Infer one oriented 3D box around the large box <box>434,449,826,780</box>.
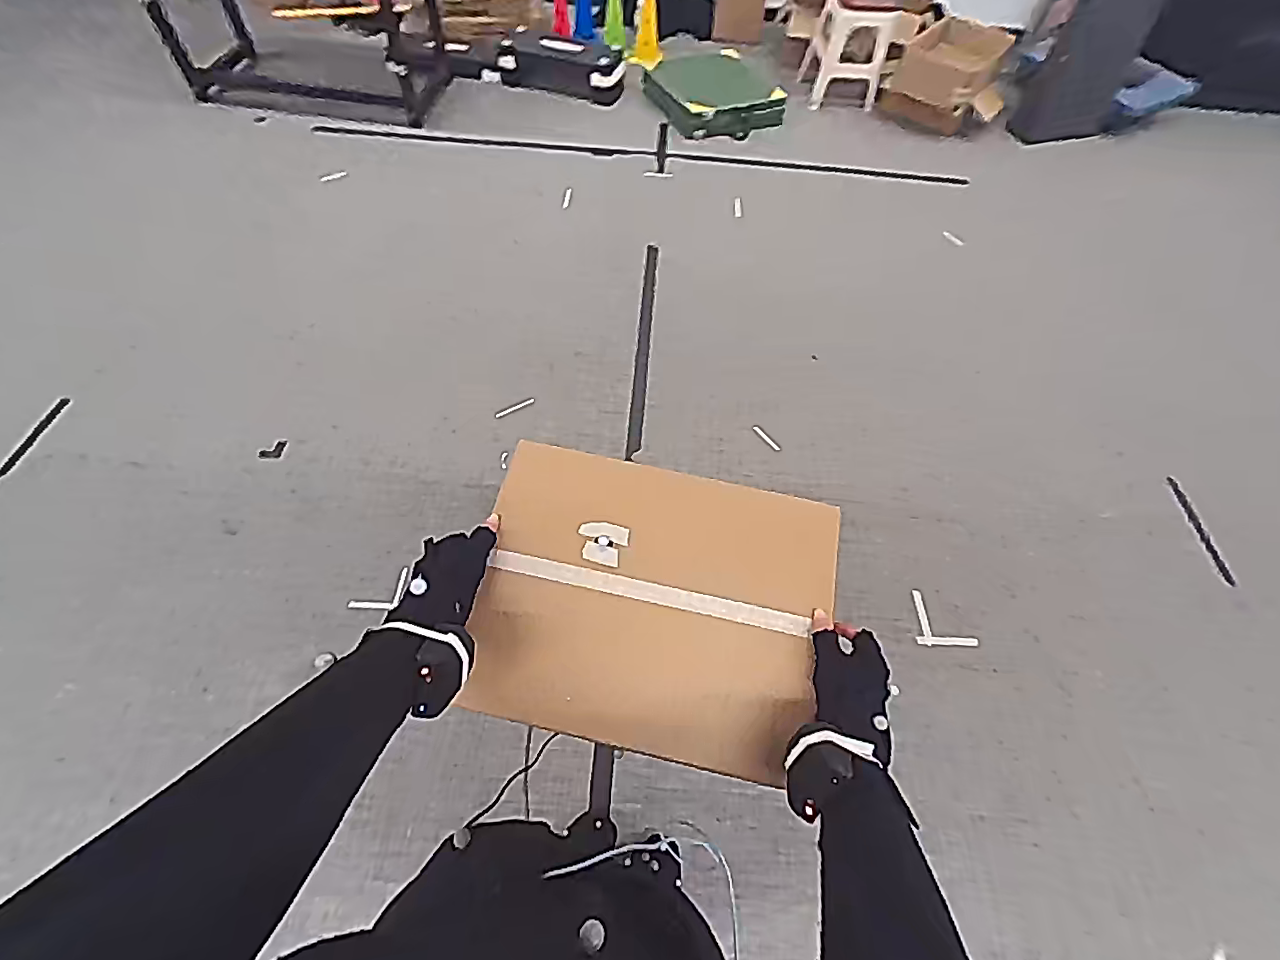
[{"bbox_3d":[0.007,0.192,0.750,0.408,0.320,0.320,11,64,5],"label":"large box"}]
